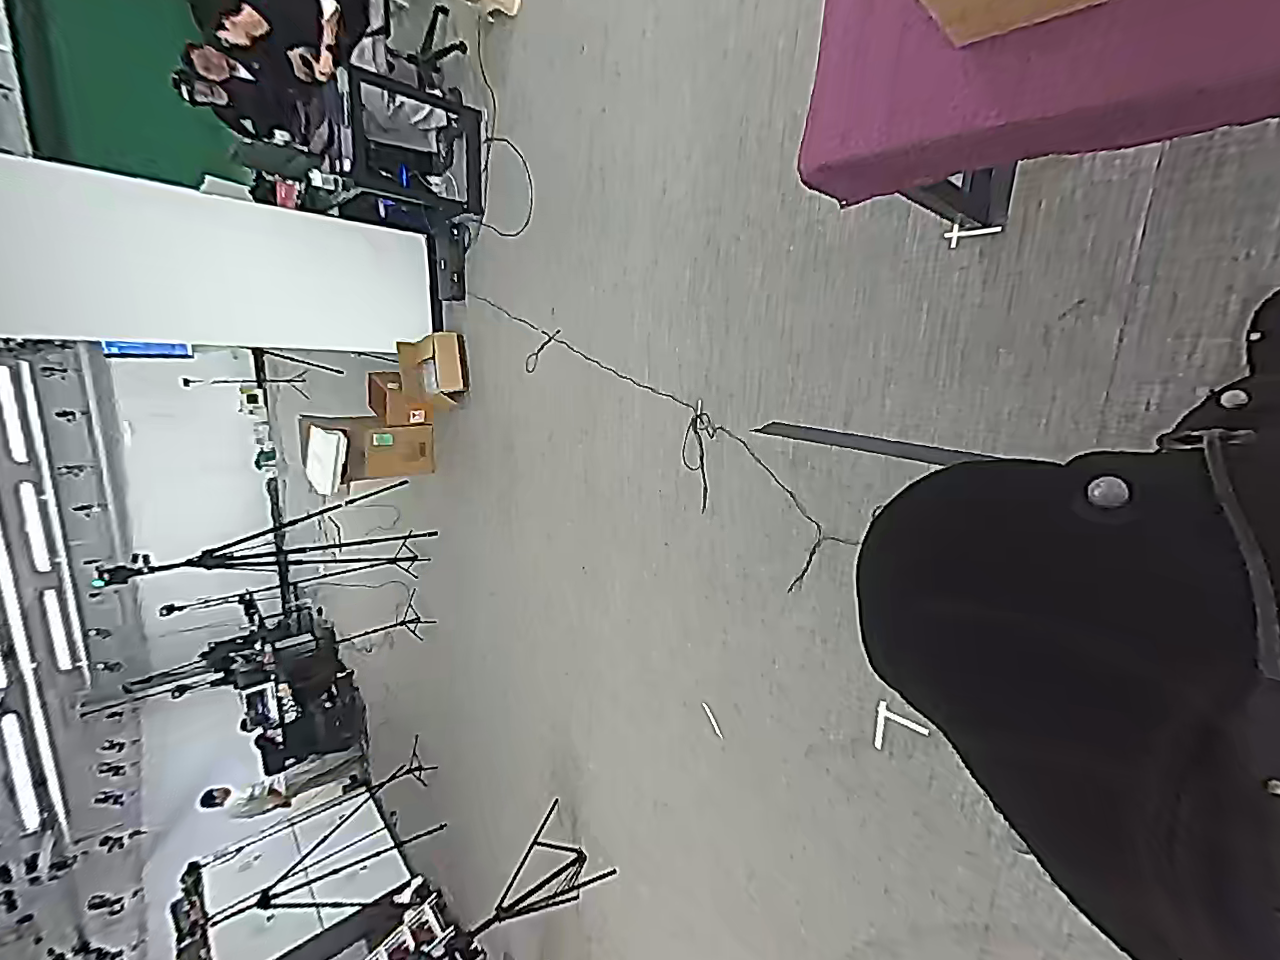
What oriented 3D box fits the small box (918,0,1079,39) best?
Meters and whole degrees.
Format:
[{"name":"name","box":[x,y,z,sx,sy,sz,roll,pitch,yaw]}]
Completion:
[{"name":"small box","box":[0.460,-0.682,0.650,0.179,0.176,0.168,20,111,45]}]
